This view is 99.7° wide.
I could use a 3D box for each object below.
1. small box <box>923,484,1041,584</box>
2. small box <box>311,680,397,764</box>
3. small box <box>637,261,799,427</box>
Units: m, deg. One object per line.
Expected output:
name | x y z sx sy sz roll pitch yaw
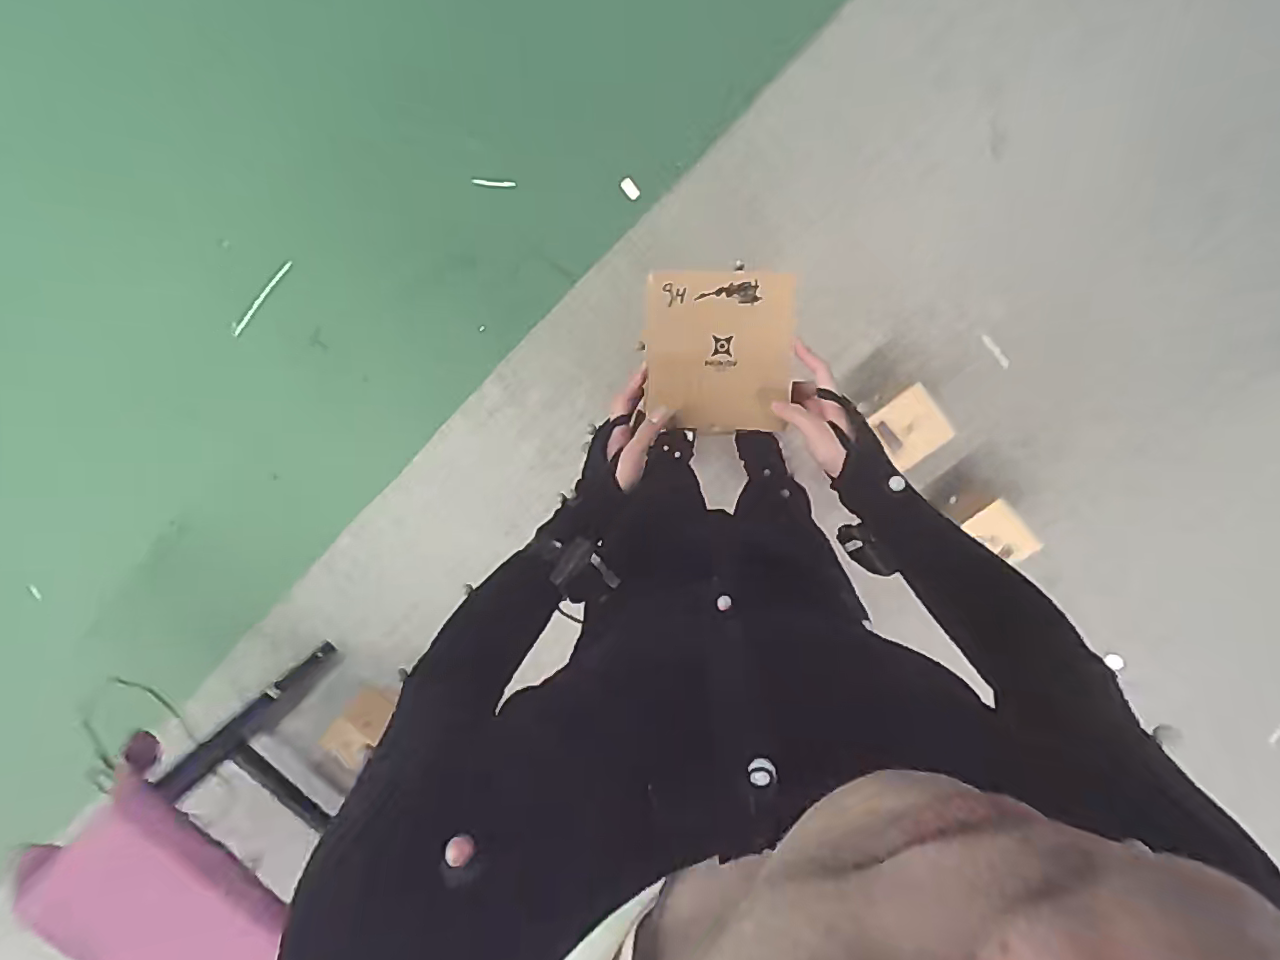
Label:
small box | 0.894 0.135 1.429 0.168 0.176 0.179 -41 95 16
small box | -1.008 0.852 1.921 0.179 0.176 0.168 44 107 -5
small box | 0.082 -0.170 0.658 0.168 0.176 0.179 -1 109 -1
